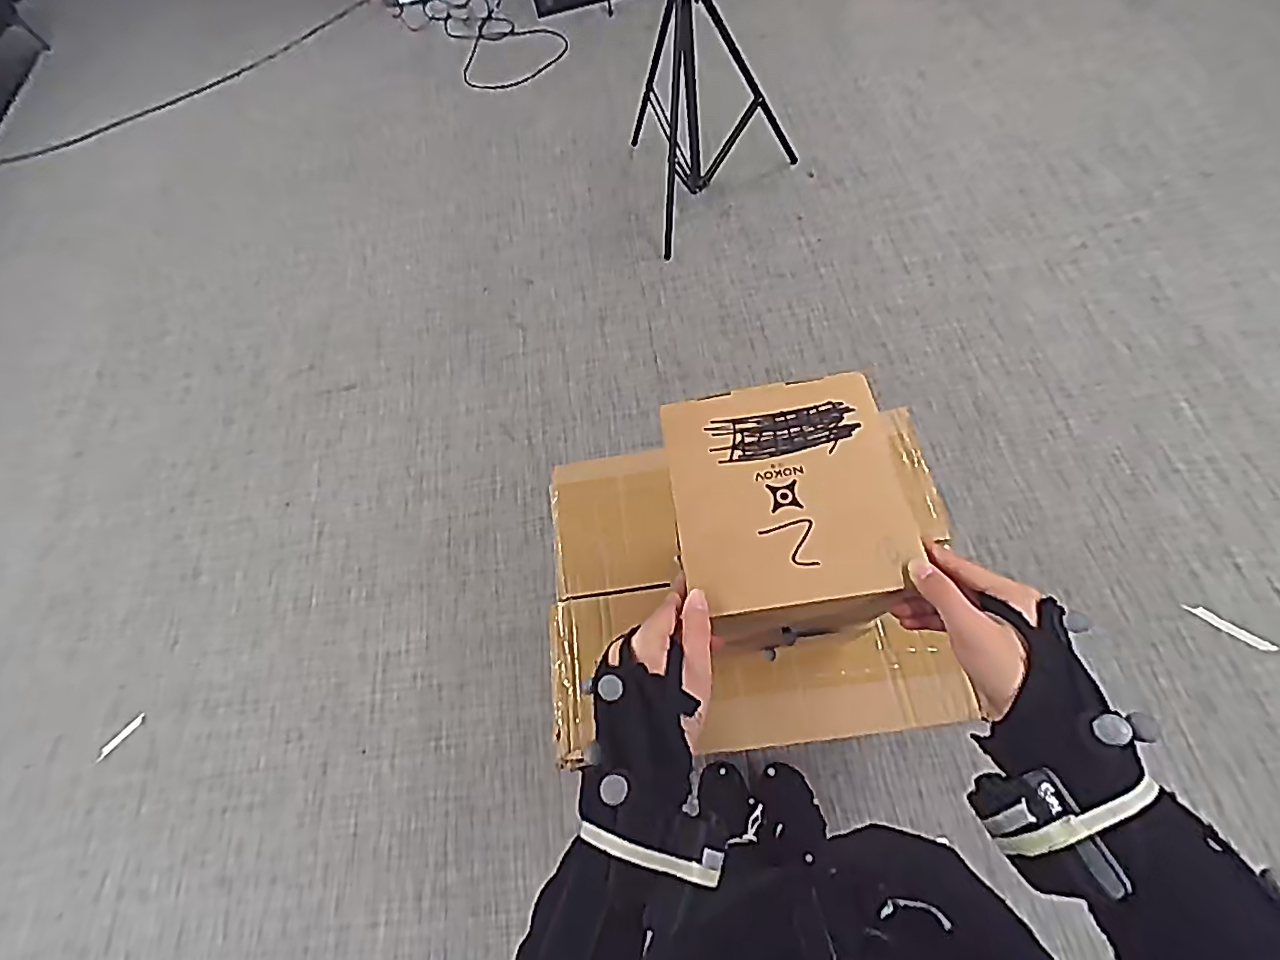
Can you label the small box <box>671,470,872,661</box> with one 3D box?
[{"bbox_3d":[0.138,0.108,0.619,0.179,0.176,0.168,-9,66,5],"label":"small box"}]
